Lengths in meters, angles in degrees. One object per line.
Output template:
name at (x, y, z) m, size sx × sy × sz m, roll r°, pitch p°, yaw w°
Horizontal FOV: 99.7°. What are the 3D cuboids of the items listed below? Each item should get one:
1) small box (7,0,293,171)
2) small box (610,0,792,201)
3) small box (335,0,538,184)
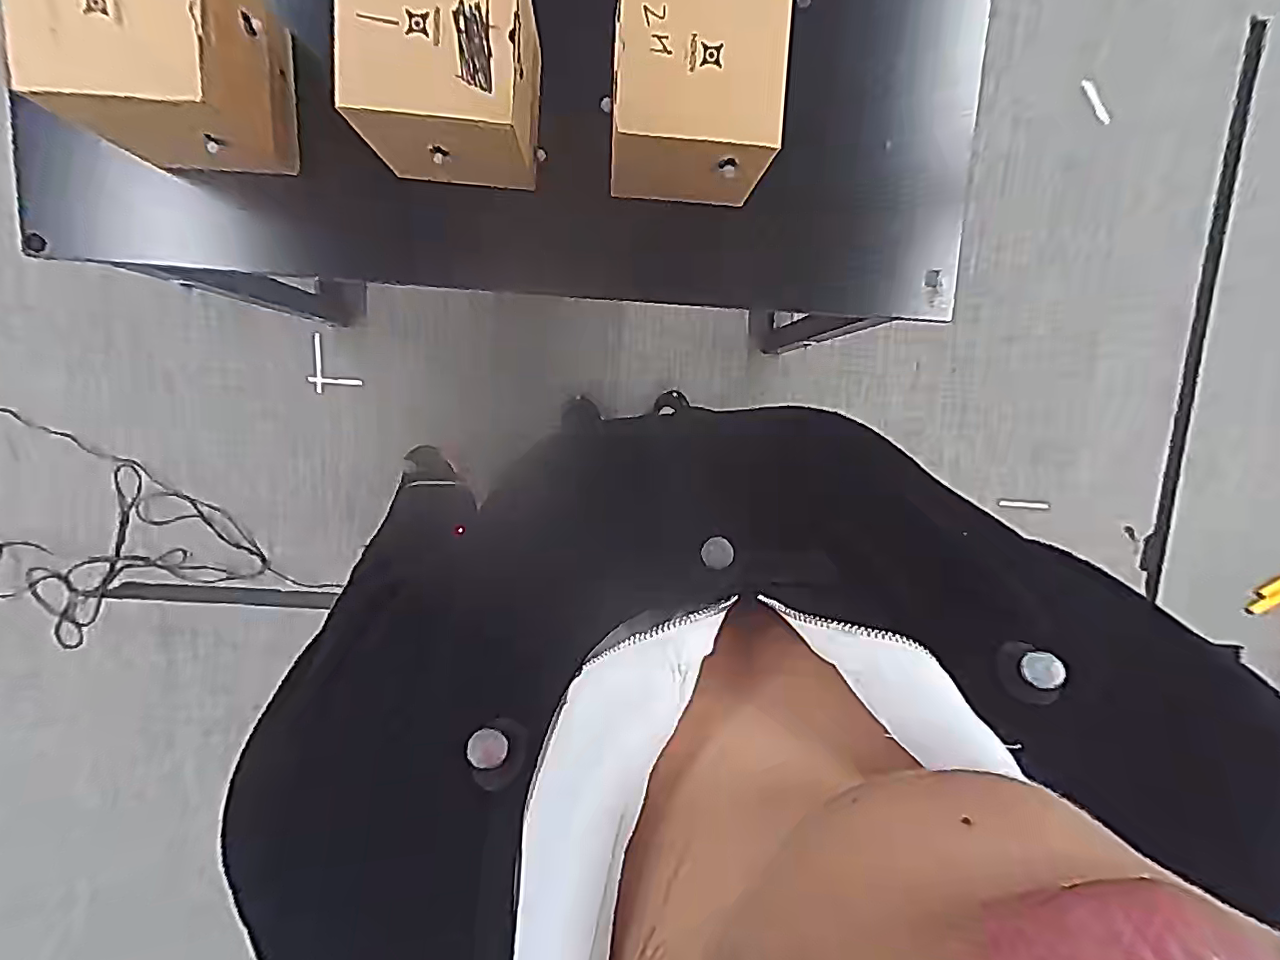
small box at (-0.506, -0.457, 0.586) m, size 0.179 × 0.176 × 0.168 m, roll 0°, pitch 97°, yaw -3°
small box at (0.058, -0.441, 0.623) m, size 0.179 × 0.176 × 0.168 m, roll 3°, pitch 97°, yaw -3°
small box at (-0.212, -0.453, 0.604) m, size 0.179 × 0.176 × 0.168 m, roll 4°, pitch 98°, yaw -3°
